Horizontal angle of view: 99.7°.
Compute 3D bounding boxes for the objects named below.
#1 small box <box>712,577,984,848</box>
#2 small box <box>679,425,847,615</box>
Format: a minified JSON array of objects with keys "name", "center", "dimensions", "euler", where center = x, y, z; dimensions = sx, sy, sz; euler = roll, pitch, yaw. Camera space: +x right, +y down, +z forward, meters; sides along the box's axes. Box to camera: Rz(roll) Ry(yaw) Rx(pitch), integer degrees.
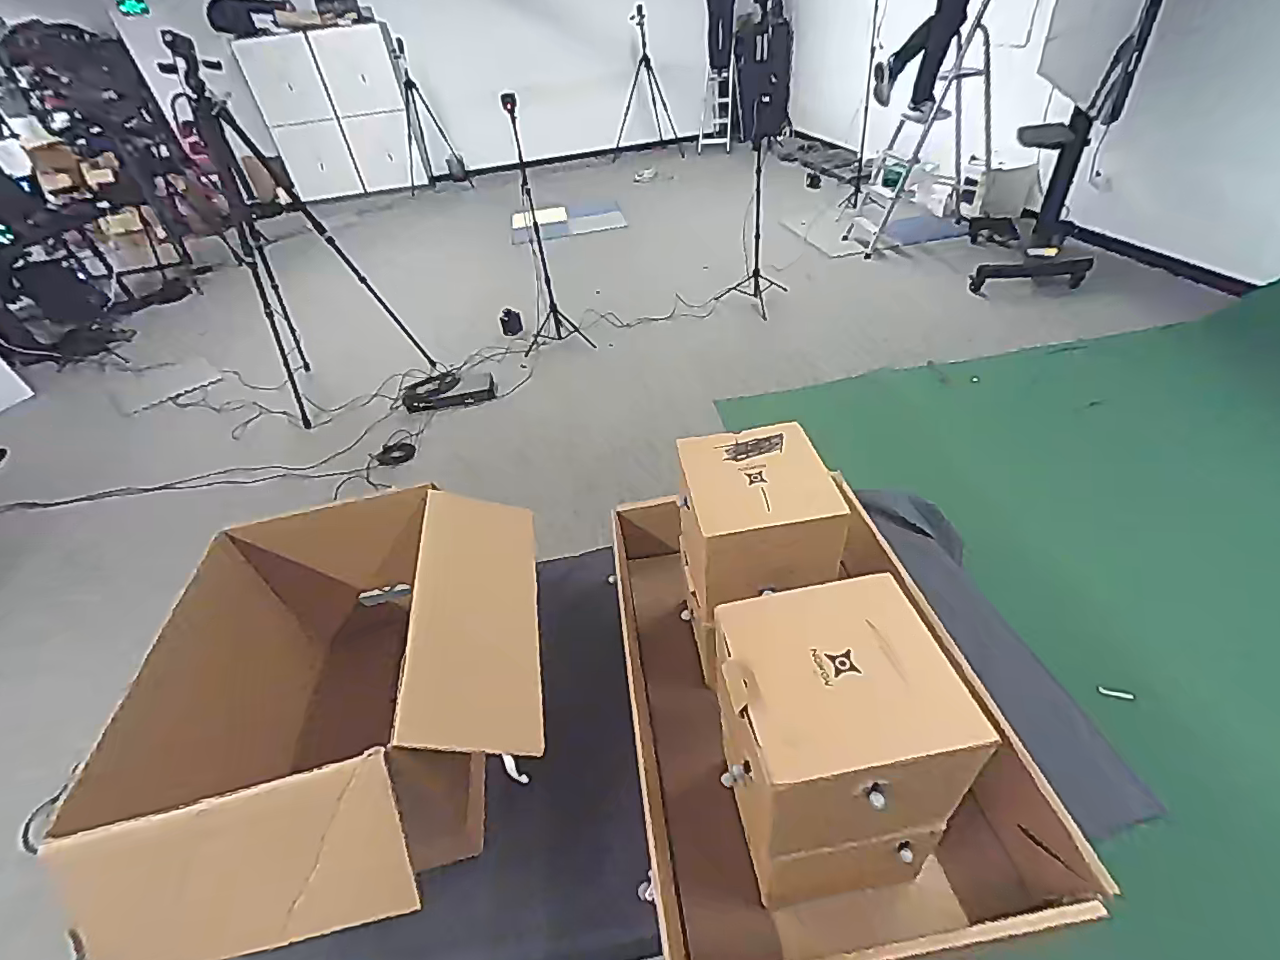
[{"name":"small box","center":[0.173,0.220,0.513],"dimensions":[0.179,0.176,0.168],"euler":[-9,41,-3]},{"name":"small box","center":[0.144,0.054,0.704],"dimensions":[0.168,0.176,0.179],"euler":[-8,43,-1]}]
